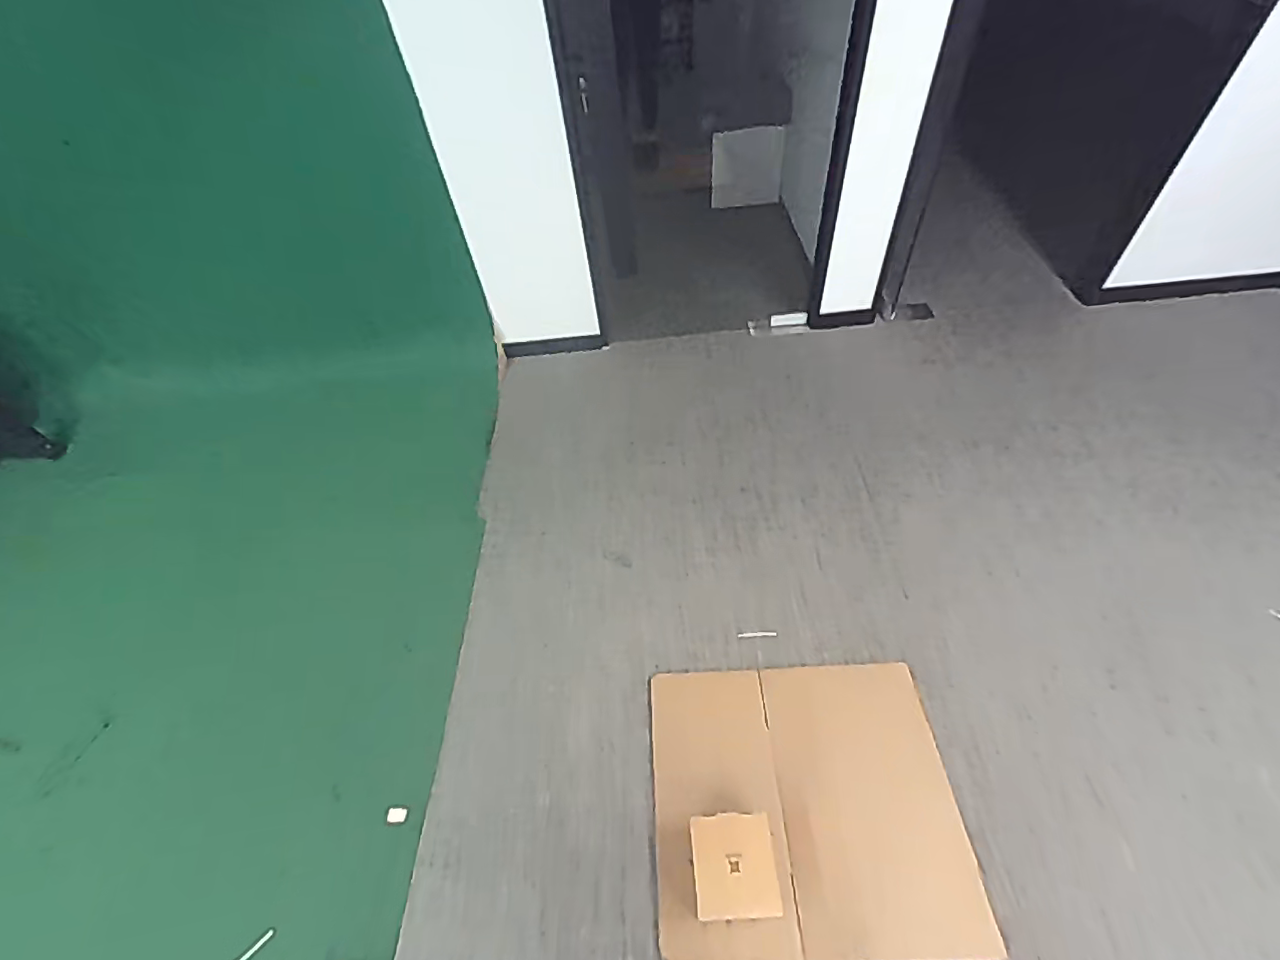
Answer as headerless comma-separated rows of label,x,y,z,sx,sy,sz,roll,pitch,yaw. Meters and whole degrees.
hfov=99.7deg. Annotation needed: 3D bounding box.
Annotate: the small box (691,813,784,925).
small box,0.198,0.818,1.135,0.168,0.176,0.179,-5,49,2
